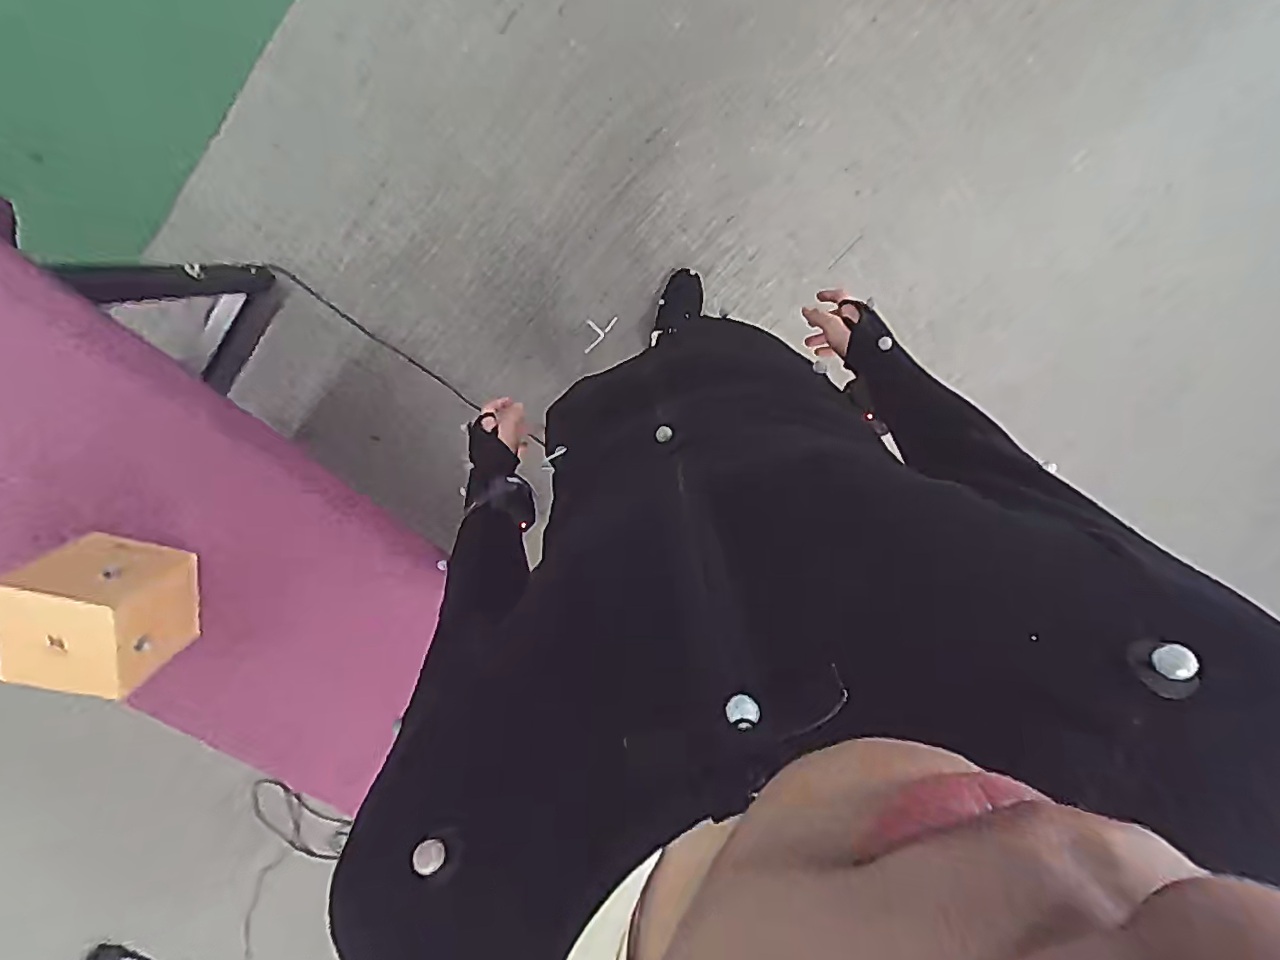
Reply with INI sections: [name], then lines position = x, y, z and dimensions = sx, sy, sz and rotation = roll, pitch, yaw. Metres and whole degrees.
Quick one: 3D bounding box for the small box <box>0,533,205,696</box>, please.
[small box]
position = -0.839, 0.206, 0.865
dimensions = 0.168, 0.176, 0.179
rotation = 14, 112, -8
